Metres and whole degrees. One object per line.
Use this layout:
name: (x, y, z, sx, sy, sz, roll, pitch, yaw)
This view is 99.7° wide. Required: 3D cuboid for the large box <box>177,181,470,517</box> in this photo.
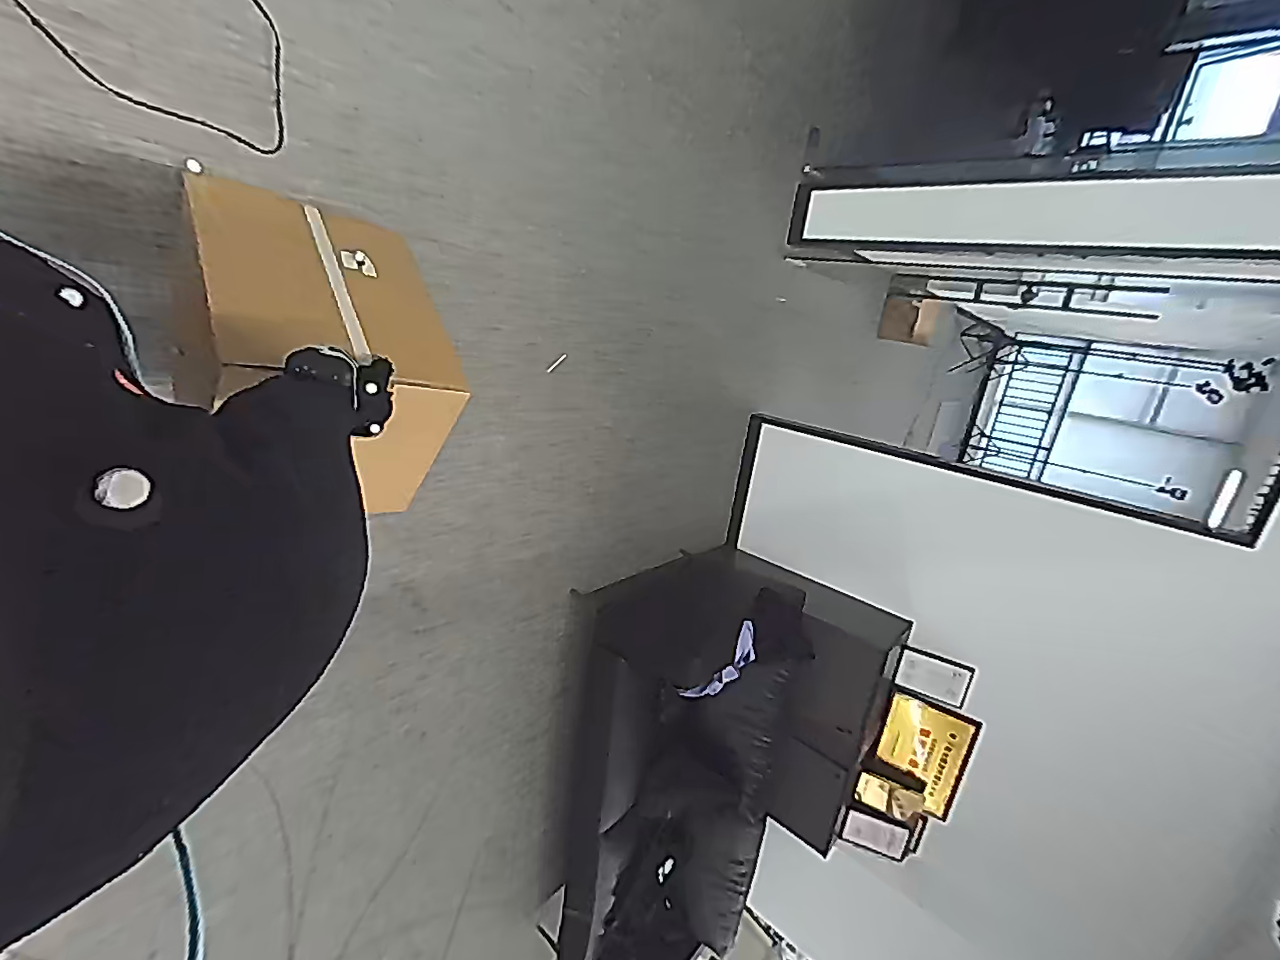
large box: (-0.541, -0.193, 0.897, 0.320, 0.408, 0.320, -1, 142, -47)
